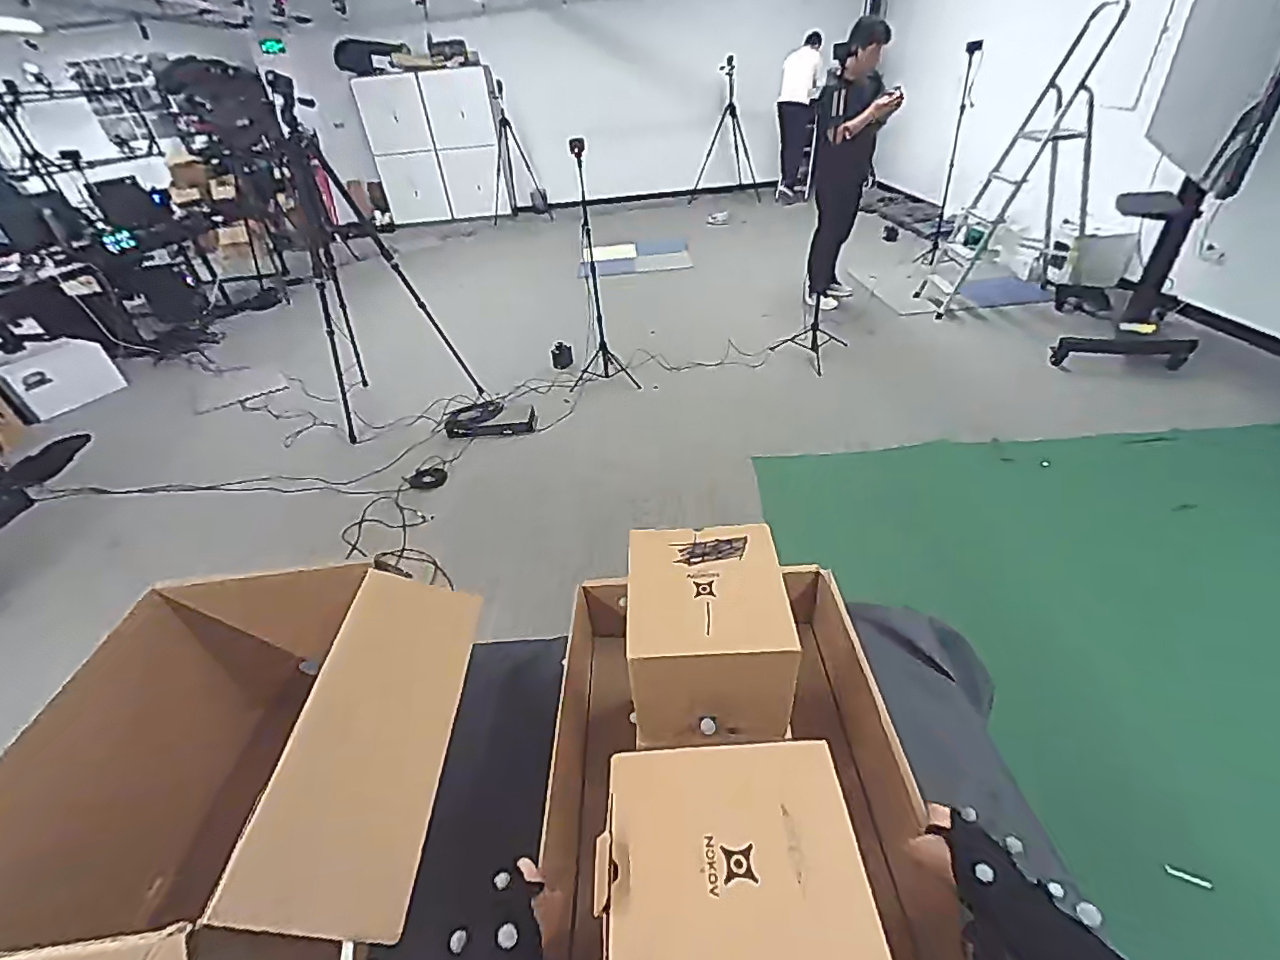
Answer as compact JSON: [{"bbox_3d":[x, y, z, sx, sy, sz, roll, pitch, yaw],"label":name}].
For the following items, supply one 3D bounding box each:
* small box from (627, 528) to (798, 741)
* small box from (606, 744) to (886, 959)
[{"bbox_3d":[0.075,0.176,0.626,0.168,0.176,0.179,-3,39,3],"label":"small box"},{"bbox_3d":[0.070,0.333,0.425,0.179,0.176,0.168,-3,37,1],"label":"small box"}]
